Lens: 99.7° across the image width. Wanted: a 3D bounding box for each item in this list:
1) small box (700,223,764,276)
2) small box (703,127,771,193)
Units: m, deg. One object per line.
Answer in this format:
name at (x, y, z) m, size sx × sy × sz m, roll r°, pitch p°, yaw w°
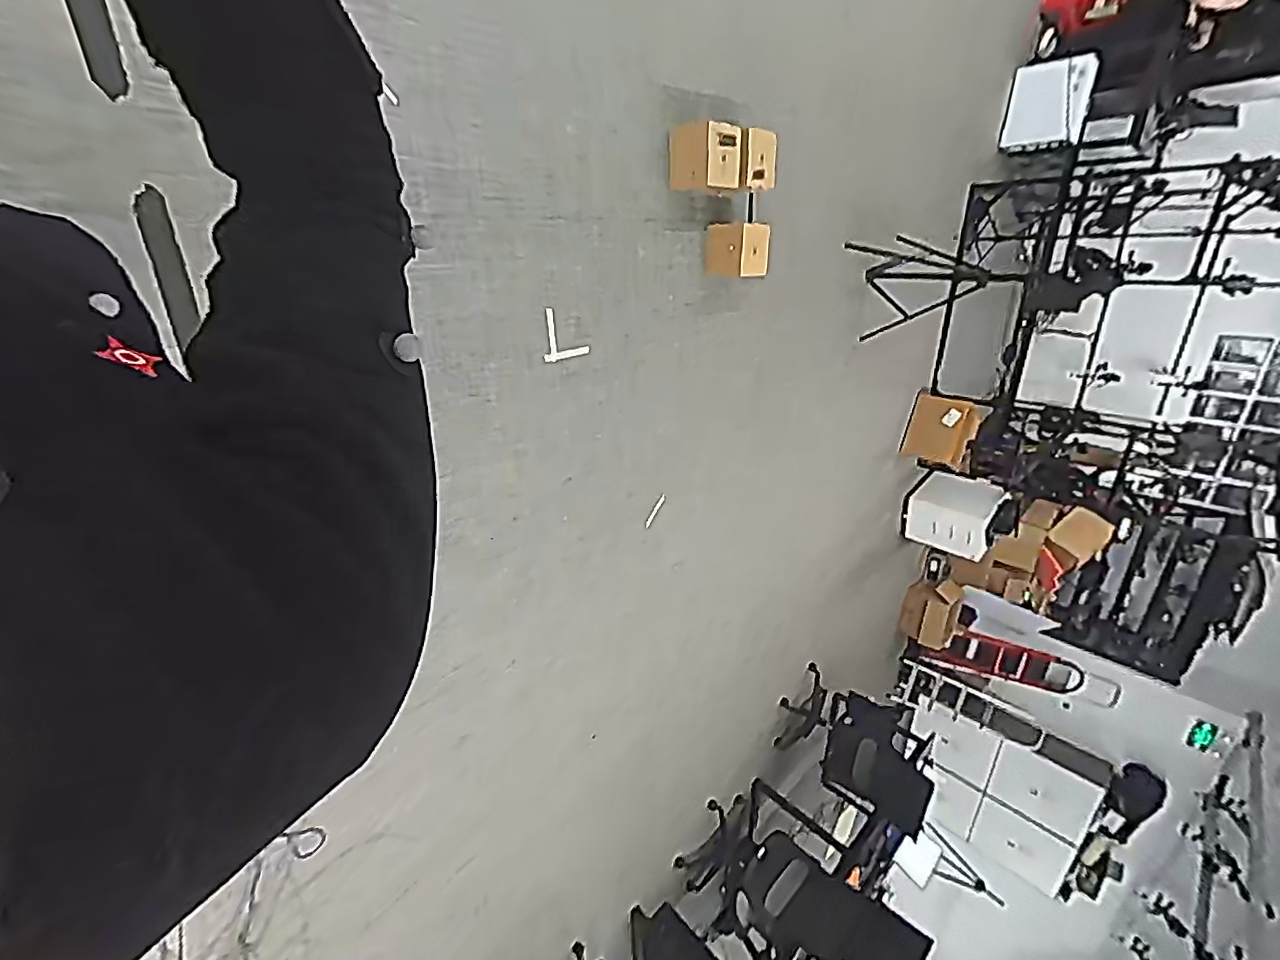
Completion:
small box at (0.340, -0.857, 2.016) m, size 0.168 × 0.176 × 0.179 m, roll -20°, pitch 119°, yaw -40°
small box at (0.338, -1.119, 1.905) m, size 0.168 × 0.176 × 0.179 m, roll -21°, pitch 119°, yaw -39°
